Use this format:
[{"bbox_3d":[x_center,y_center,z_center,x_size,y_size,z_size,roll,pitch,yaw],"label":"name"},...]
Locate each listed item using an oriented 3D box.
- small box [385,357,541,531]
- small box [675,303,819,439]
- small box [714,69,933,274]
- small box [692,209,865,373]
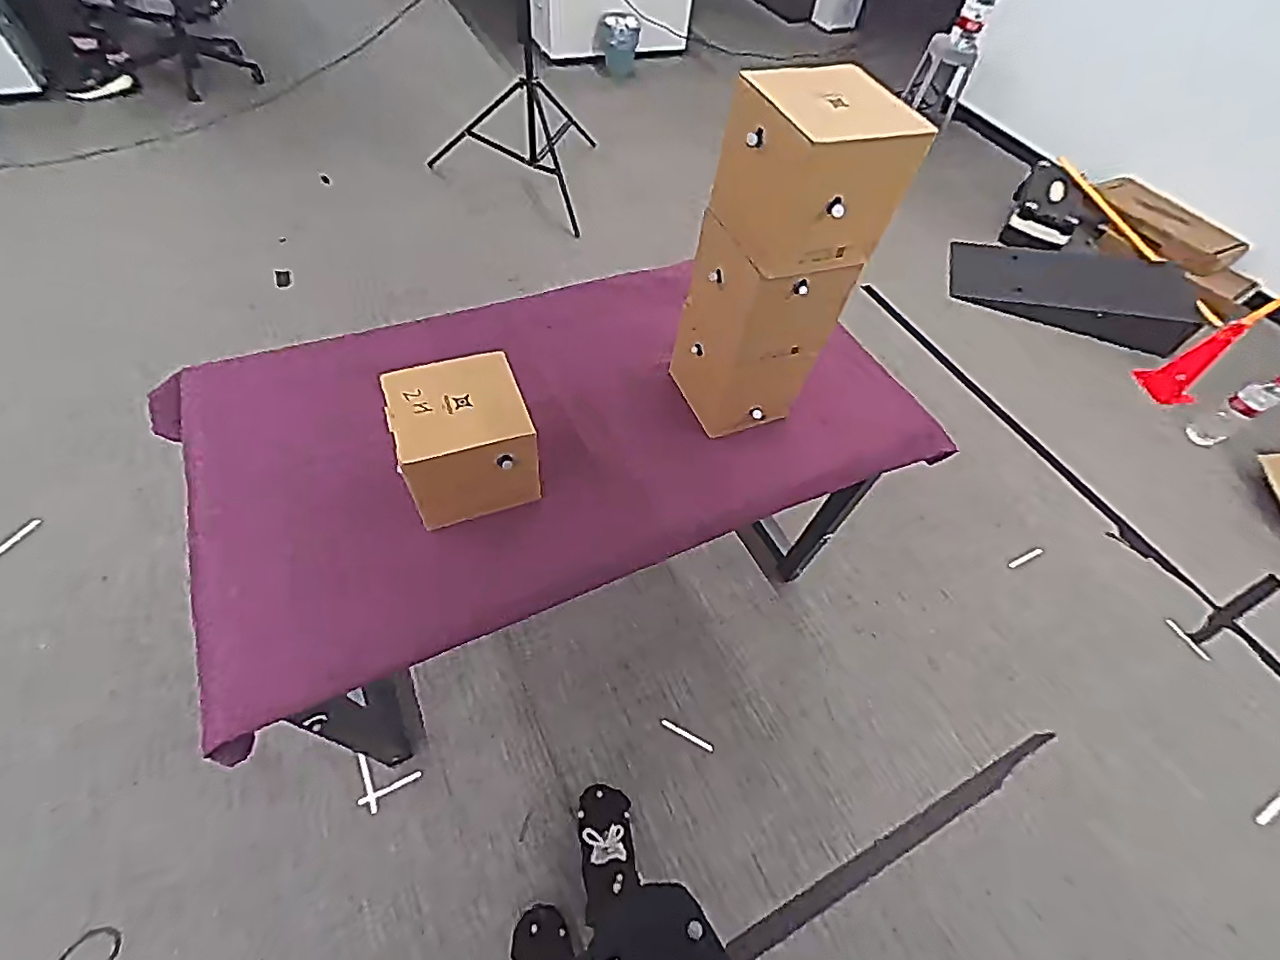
[{"bbox_3d":[-0.251,-0.051,0.796,0.179,0.176,0.168,-17,59,-17],"label":"small box"},{"bbox_3d":[0.174,-0.202,0.952,0.168,0.176,0.179,-17,60,-17],"label":"small box"},{"bbox_3d":[0.212,-0.377,0.678,0.168,0.176,0.179,-16,59,-16],"label":"small box"},{"bbox_3d":[0.192,-0.291,0.815,0.168,0.176,0.179,-15,58,-16],"label":"small box"}]
